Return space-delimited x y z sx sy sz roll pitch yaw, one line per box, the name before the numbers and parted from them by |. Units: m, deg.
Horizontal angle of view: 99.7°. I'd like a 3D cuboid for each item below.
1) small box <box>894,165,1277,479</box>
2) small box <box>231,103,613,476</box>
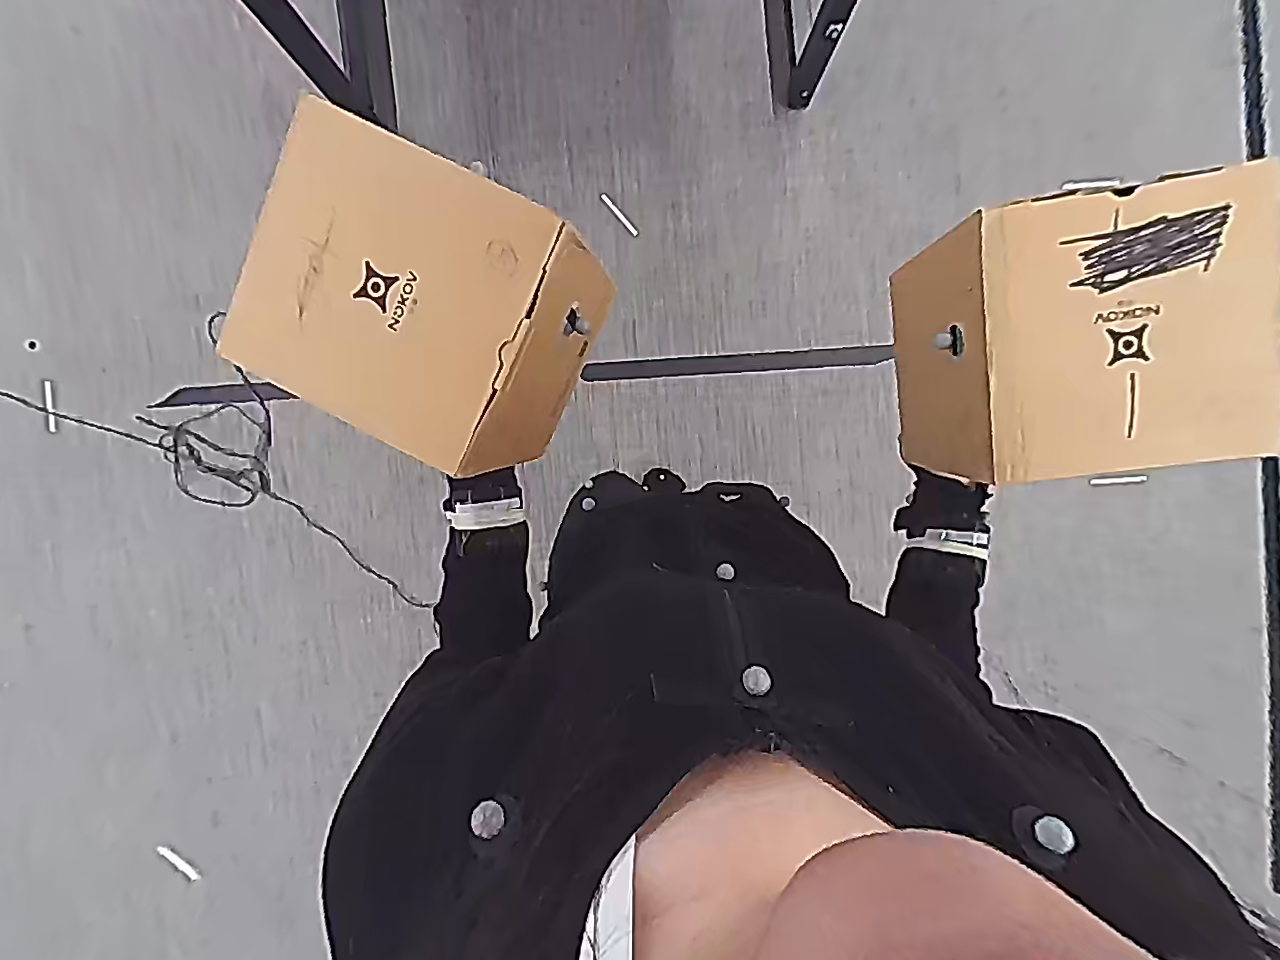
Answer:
small box | 0.310 -0.103 0.415 0.168 0.176 0.179 -6 97 8
small box | -0.136 -0.121 0.400 0.179 0.176 0.168 26 99 4
